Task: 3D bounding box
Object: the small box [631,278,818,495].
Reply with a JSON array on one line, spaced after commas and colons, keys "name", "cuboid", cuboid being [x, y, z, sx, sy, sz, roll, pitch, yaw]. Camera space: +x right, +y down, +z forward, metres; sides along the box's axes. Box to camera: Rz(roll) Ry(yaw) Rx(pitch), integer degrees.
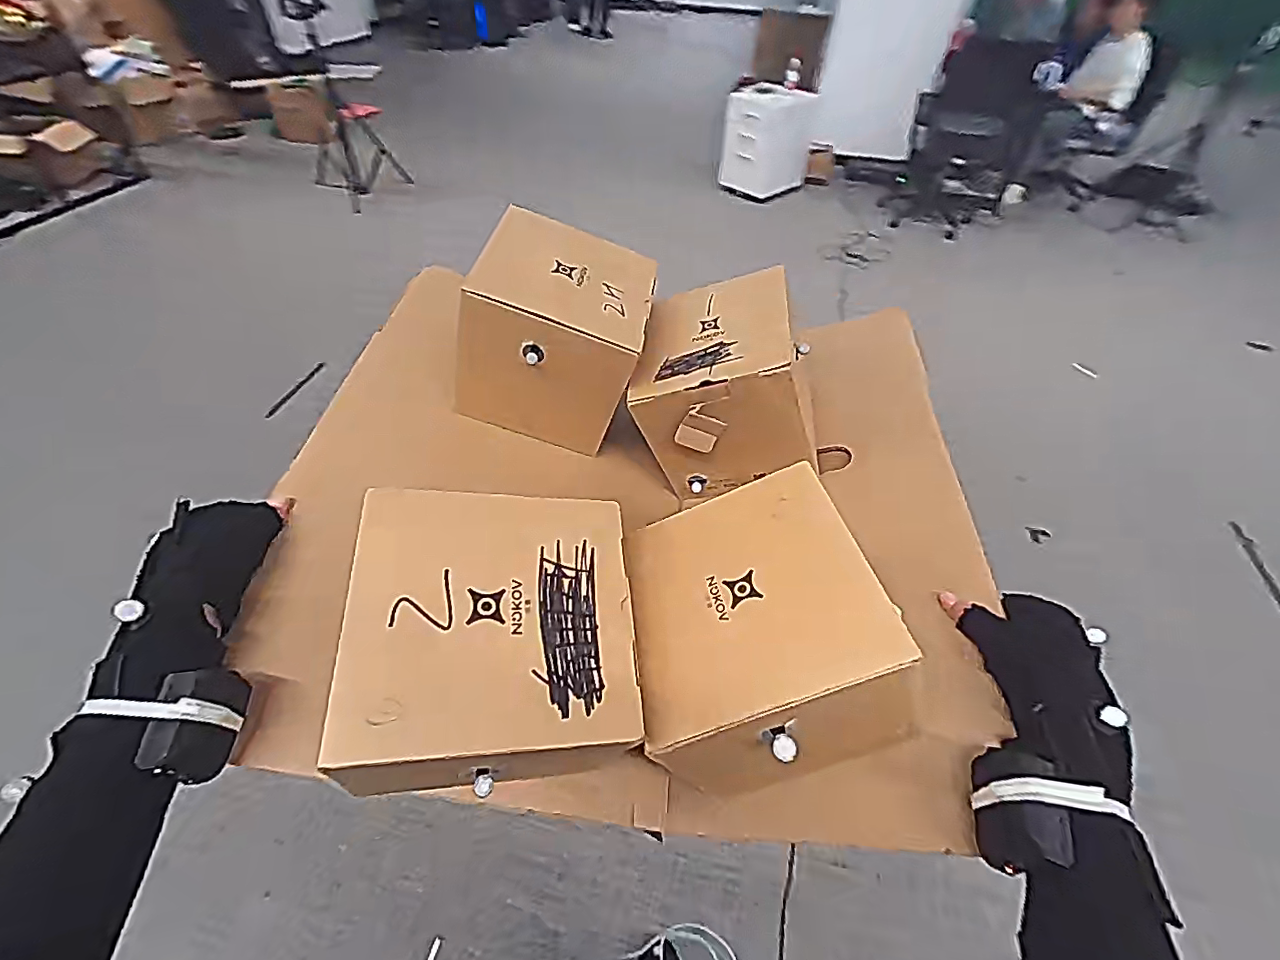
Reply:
[{"name": "small box", "cuboid": [0.107, -0.096, 0.628, 0.168, 0.176, 0.179, -8, 47, 22]}]
